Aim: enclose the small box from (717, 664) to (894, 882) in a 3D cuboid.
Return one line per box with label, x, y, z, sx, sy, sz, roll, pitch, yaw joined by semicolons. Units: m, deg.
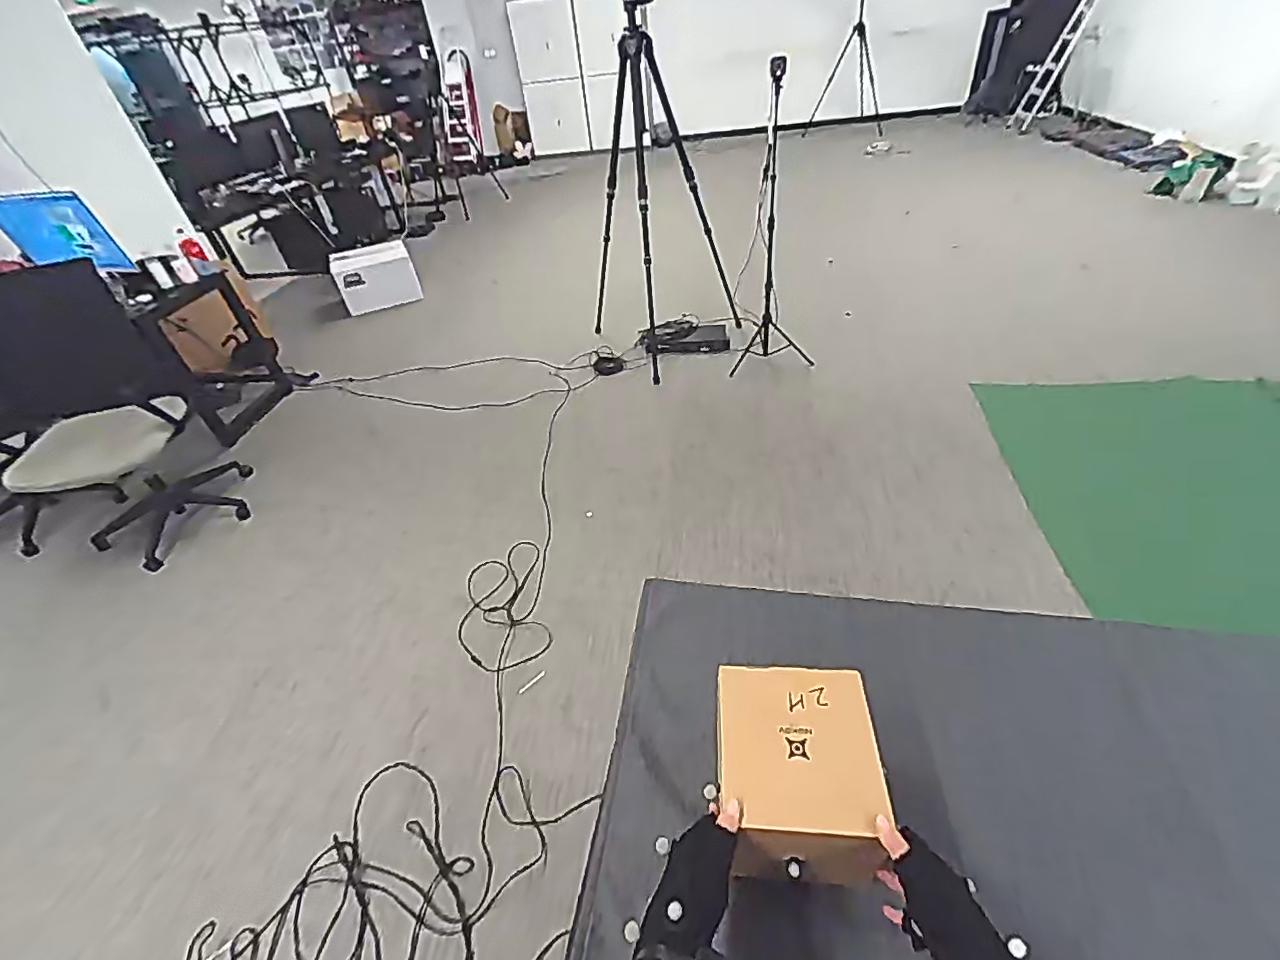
small box;0.176;0.341;0.631;0.168;0.176;0.179;0;40;7
